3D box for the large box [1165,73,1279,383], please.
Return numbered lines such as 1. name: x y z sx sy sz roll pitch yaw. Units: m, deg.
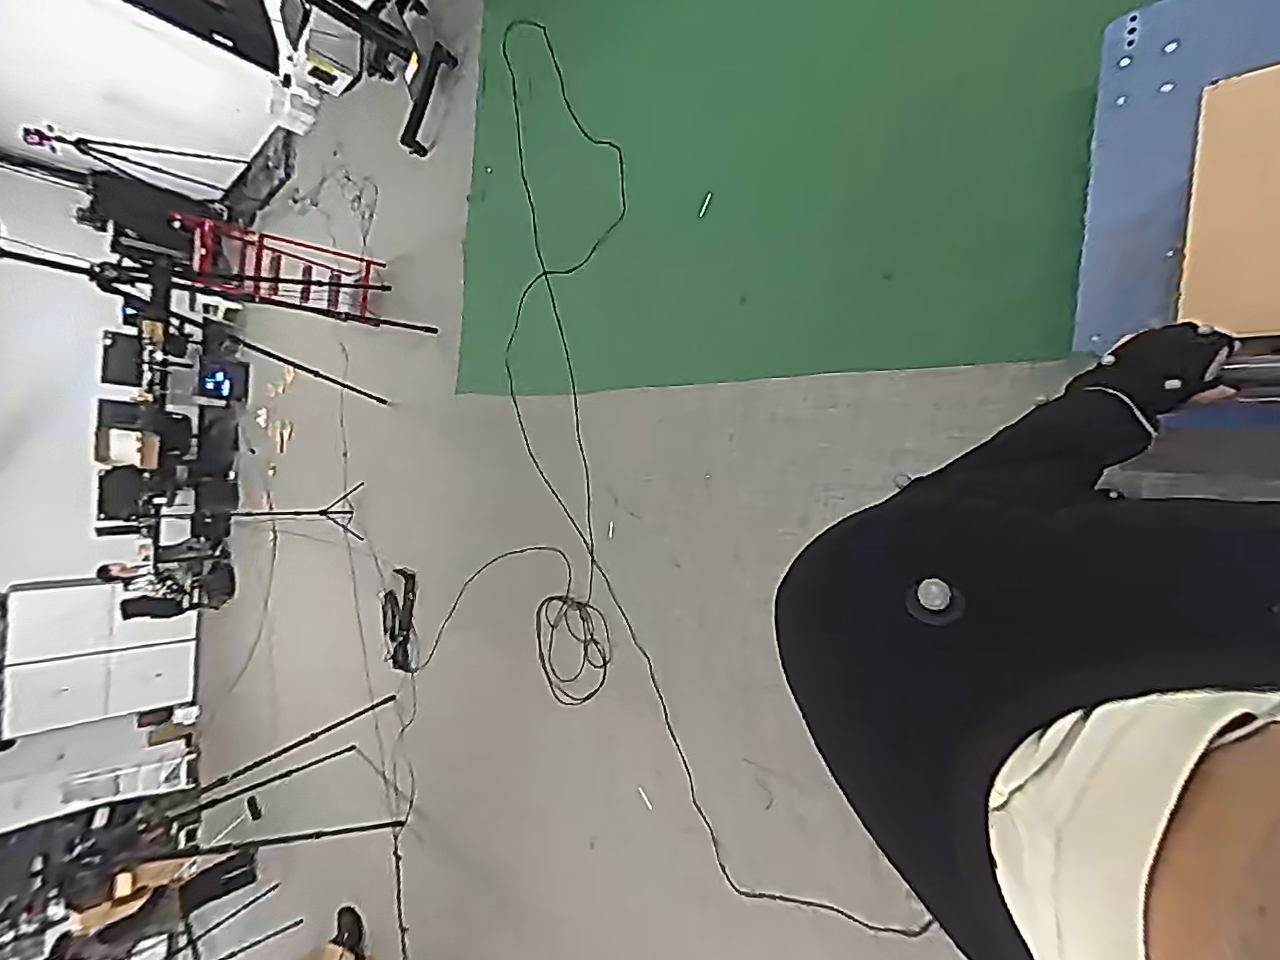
1. large box: 1.077 -0.391 0.872 0.320 0.320 0.408 5 90 41
